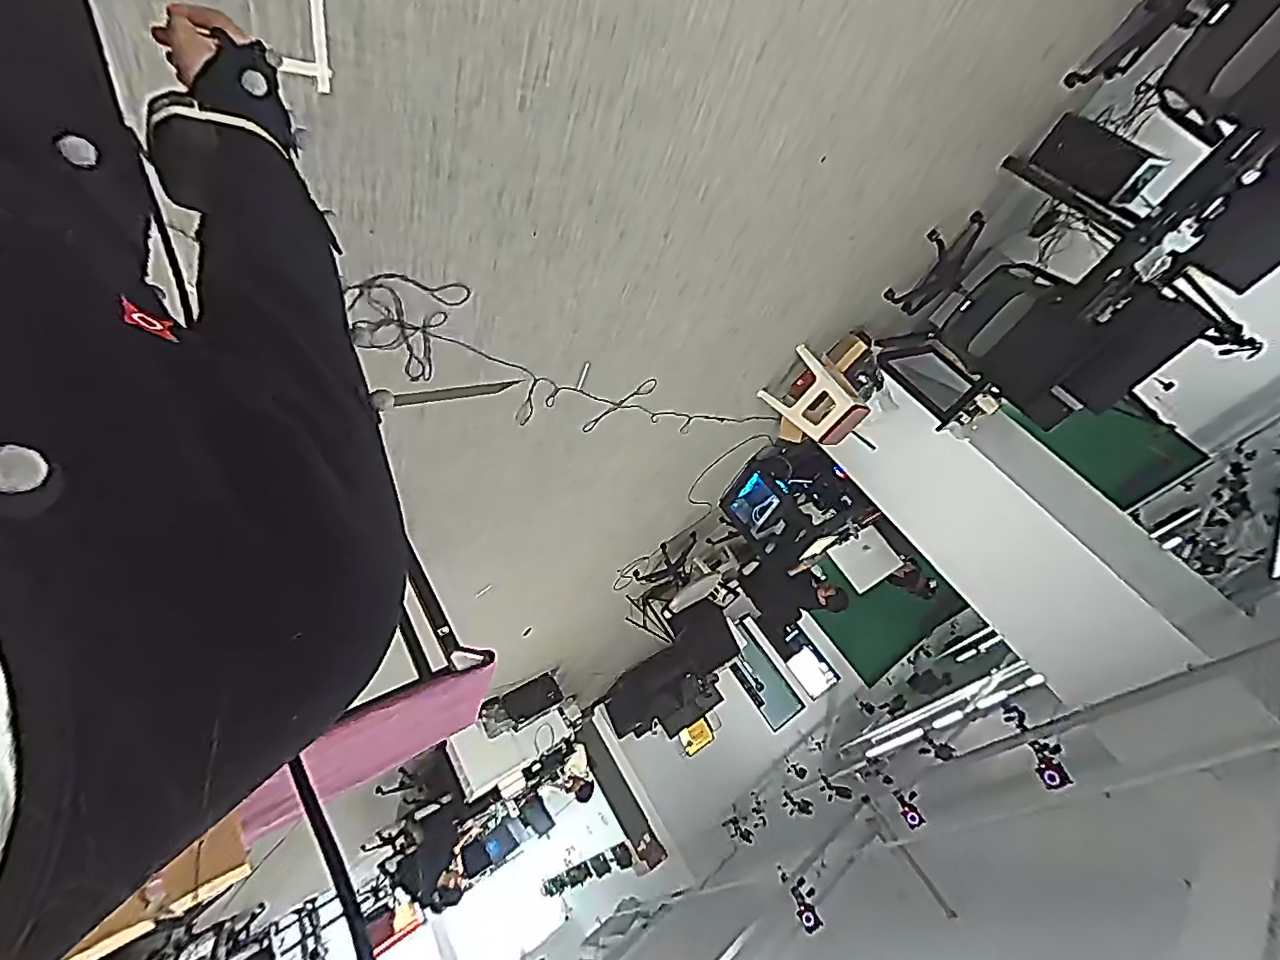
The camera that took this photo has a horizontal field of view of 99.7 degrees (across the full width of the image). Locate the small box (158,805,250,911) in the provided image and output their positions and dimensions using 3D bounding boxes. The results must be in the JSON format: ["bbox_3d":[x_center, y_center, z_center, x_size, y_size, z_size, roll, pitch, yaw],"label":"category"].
[{"bbox_3d":[-1.183,1.024,1.473,0.168,0.176,0.179,-14,149,-40],"label":"small box"}]

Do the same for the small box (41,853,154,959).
[{"bbox_3d":[-1.343,1.071,1.345,0.168,0.176,0.179,-15,149,-41],"label":"small box"}]
